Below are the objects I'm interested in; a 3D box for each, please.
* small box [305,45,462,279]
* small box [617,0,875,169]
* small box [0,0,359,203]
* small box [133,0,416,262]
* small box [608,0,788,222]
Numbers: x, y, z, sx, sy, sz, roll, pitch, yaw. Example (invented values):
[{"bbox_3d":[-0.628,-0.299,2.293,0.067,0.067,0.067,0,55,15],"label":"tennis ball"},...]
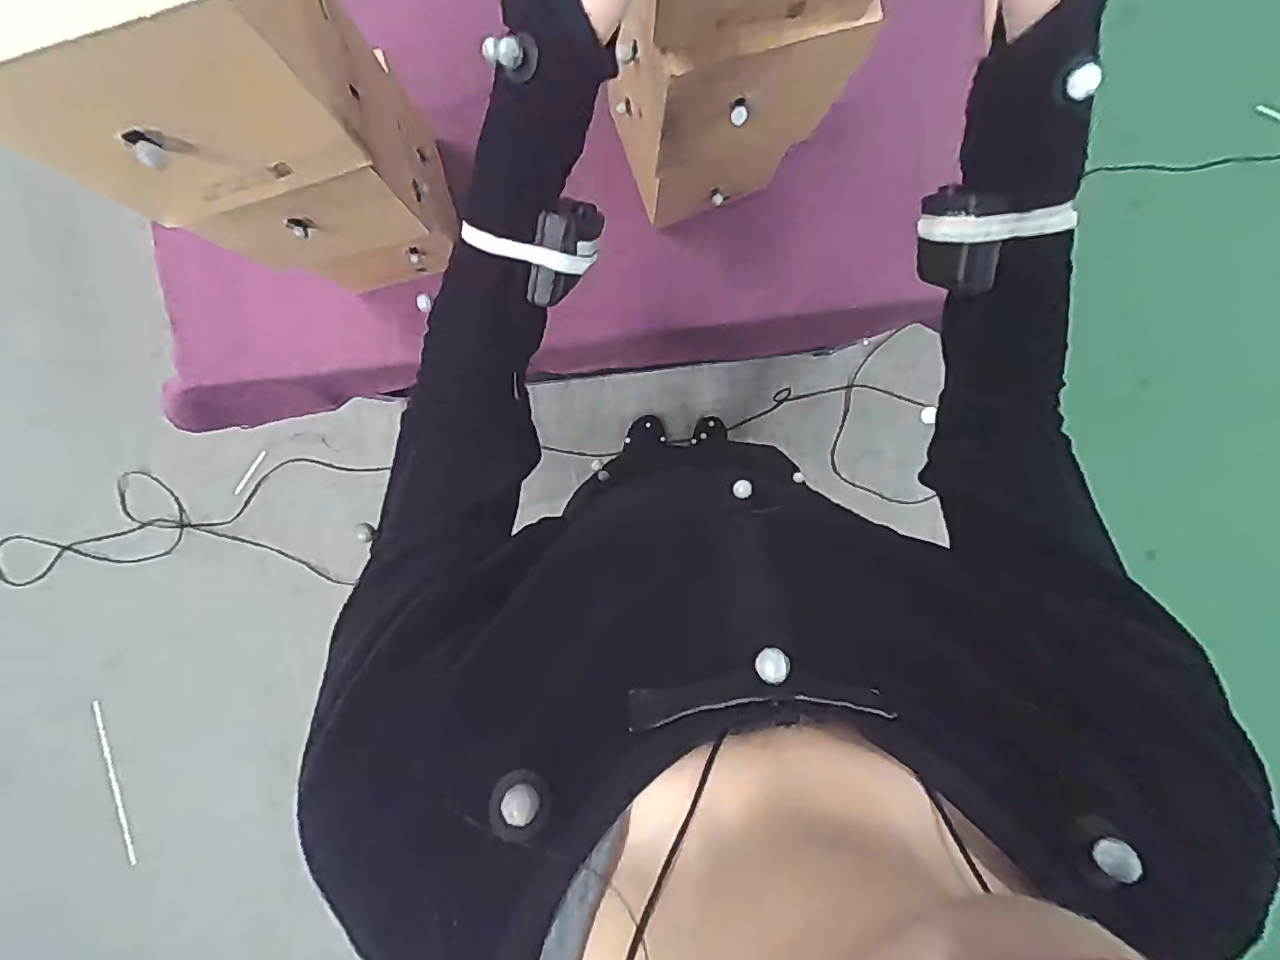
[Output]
[{"bbox_3d":[-0.330,-0.357,0.647,0.168,0.176,0.179,-14,94,-1],"label":"small box"},{"bbox_3d":[0.077,-0.416,0.488,0.179,0.176,0.168,-15,95,0],"label":"small box"},{"bbox_3d":[-0.306,-0.295,0.325,0.168,0.176,0.179,-18,95,-1],"label":"small box"},{"bbox_3d":[-0.323,-0.318,0.486,0.179,0.176,0.168,-14,95,-1],"label":"small box"},{"bbox_3d":[0.065,-0.448,0.649,0.168,0.176,0.179,-19,95,0],"label":"small box"}]
